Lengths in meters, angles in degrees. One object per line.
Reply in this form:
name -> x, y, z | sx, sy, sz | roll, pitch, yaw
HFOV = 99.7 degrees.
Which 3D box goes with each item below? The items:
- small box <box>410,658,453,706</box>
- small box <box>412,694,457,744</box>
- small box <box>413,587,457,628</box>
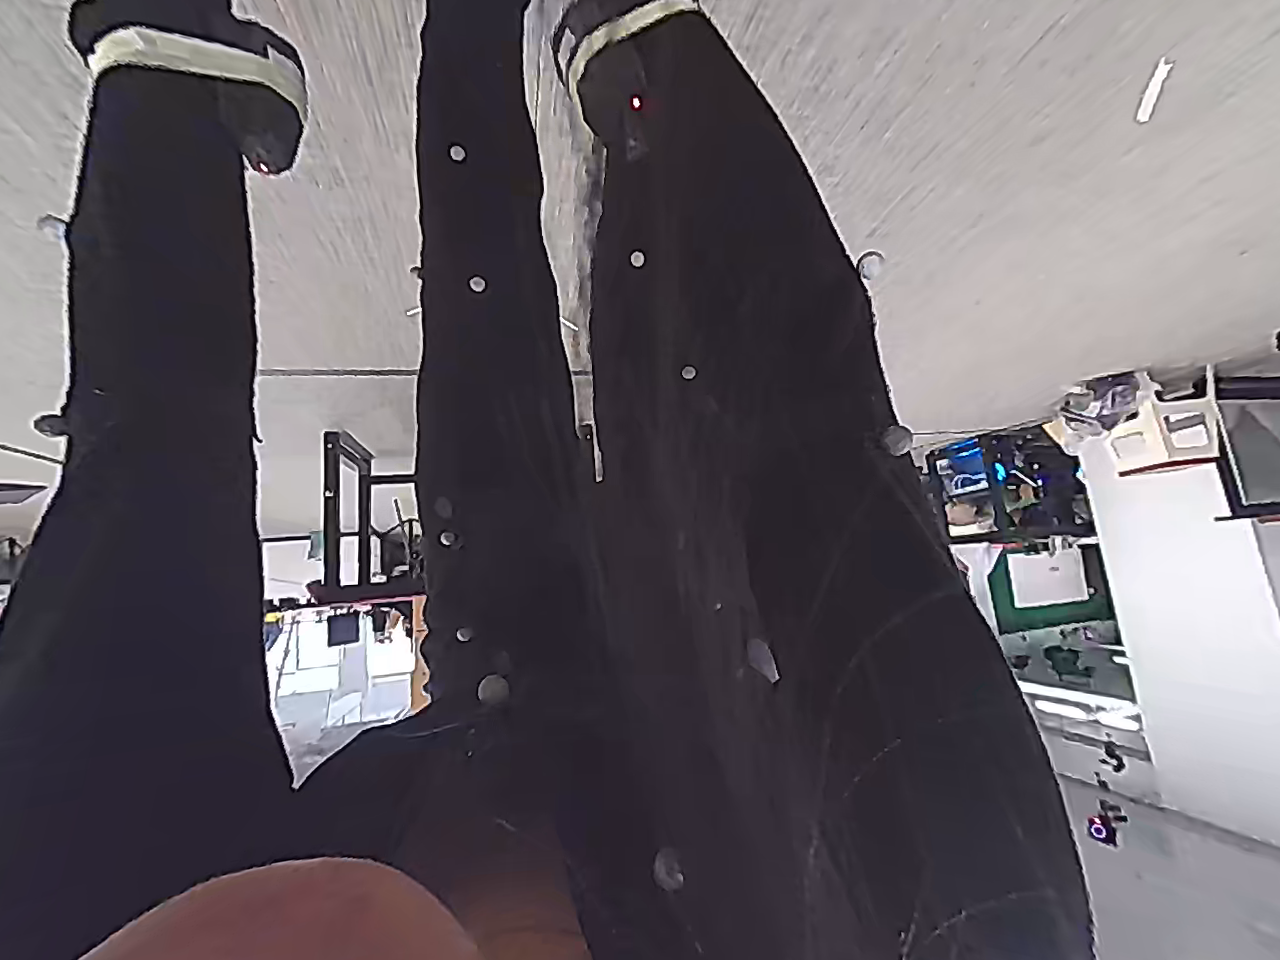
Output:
small box -> -0.949, 0.918, 2.474 | 0.168, 0.176, 0.179 | -3, 170, -13
small box -> -0.931, 1.080, 2.459 | 0.179, 0.176, 0.168 | -3, 170, -12
small box -> -0.959, 0.596, 2.535 | 0.179, 0.176, 0.168 | -3, 170, -13
